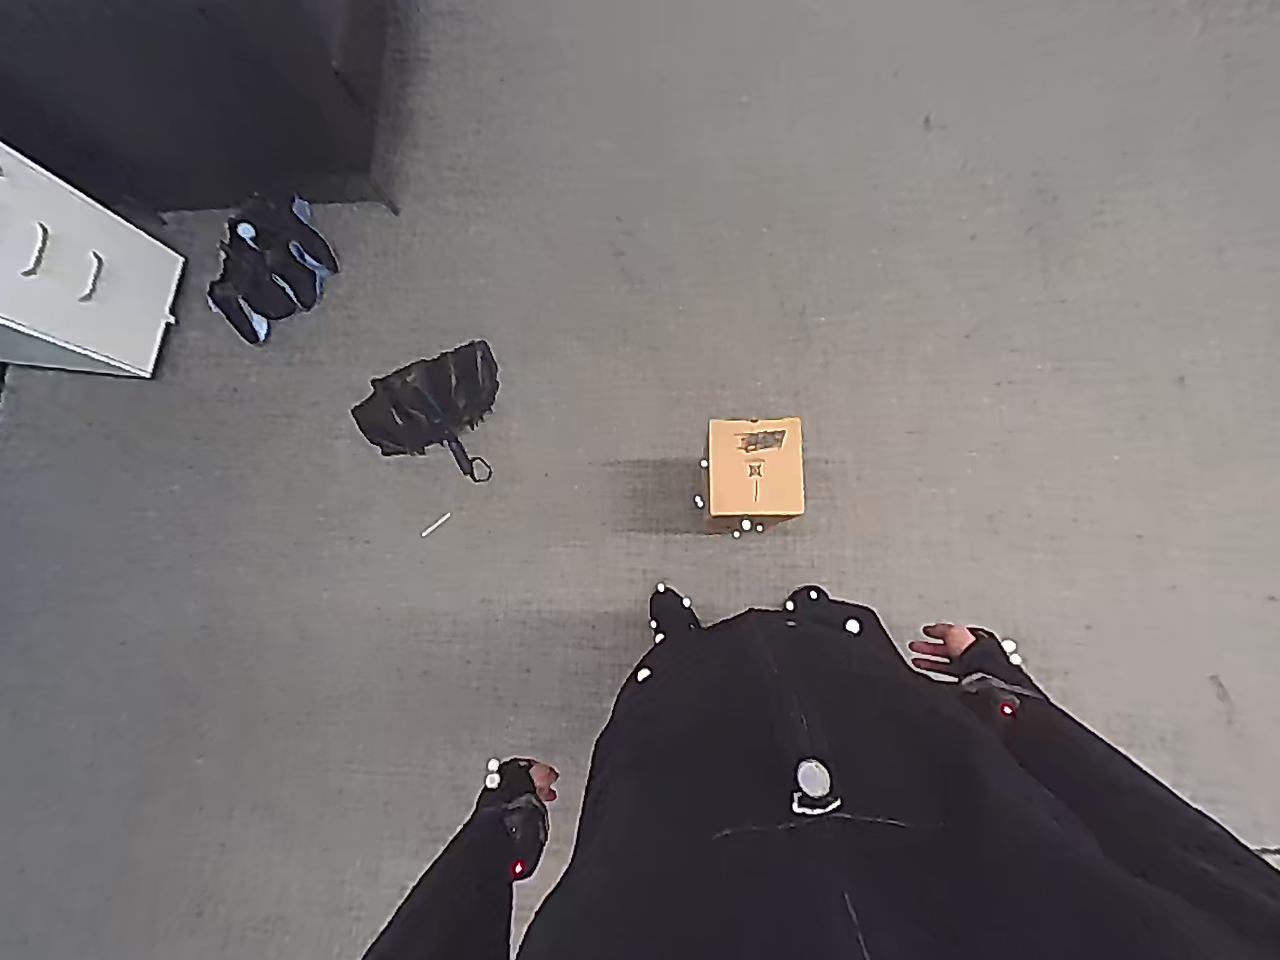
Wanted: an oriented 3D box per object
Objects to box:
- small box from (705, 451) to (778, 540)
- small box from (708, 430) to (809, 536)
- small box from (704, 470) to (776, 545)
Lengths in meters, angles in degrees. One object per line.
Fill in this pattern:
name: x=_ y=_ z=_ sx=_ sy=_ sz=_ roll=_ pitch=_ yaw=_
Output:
small box: x=0.229 y=0.039 z=1.188 sx=0.168 sy=0.176 sz=0.179 roll=-1 pitch=77 yaw=5
small box: x=0.217 y=0.011 z=1.026 sx=0.168 sy=0.176 sz=0.179 roll=0 pitch=80 yaw=5
small box: x=0.244 y=0.073 z=1.346 sx=0.168 sy=0.176 sz=0.179 roll=-2 pitch=79 yaw=5
